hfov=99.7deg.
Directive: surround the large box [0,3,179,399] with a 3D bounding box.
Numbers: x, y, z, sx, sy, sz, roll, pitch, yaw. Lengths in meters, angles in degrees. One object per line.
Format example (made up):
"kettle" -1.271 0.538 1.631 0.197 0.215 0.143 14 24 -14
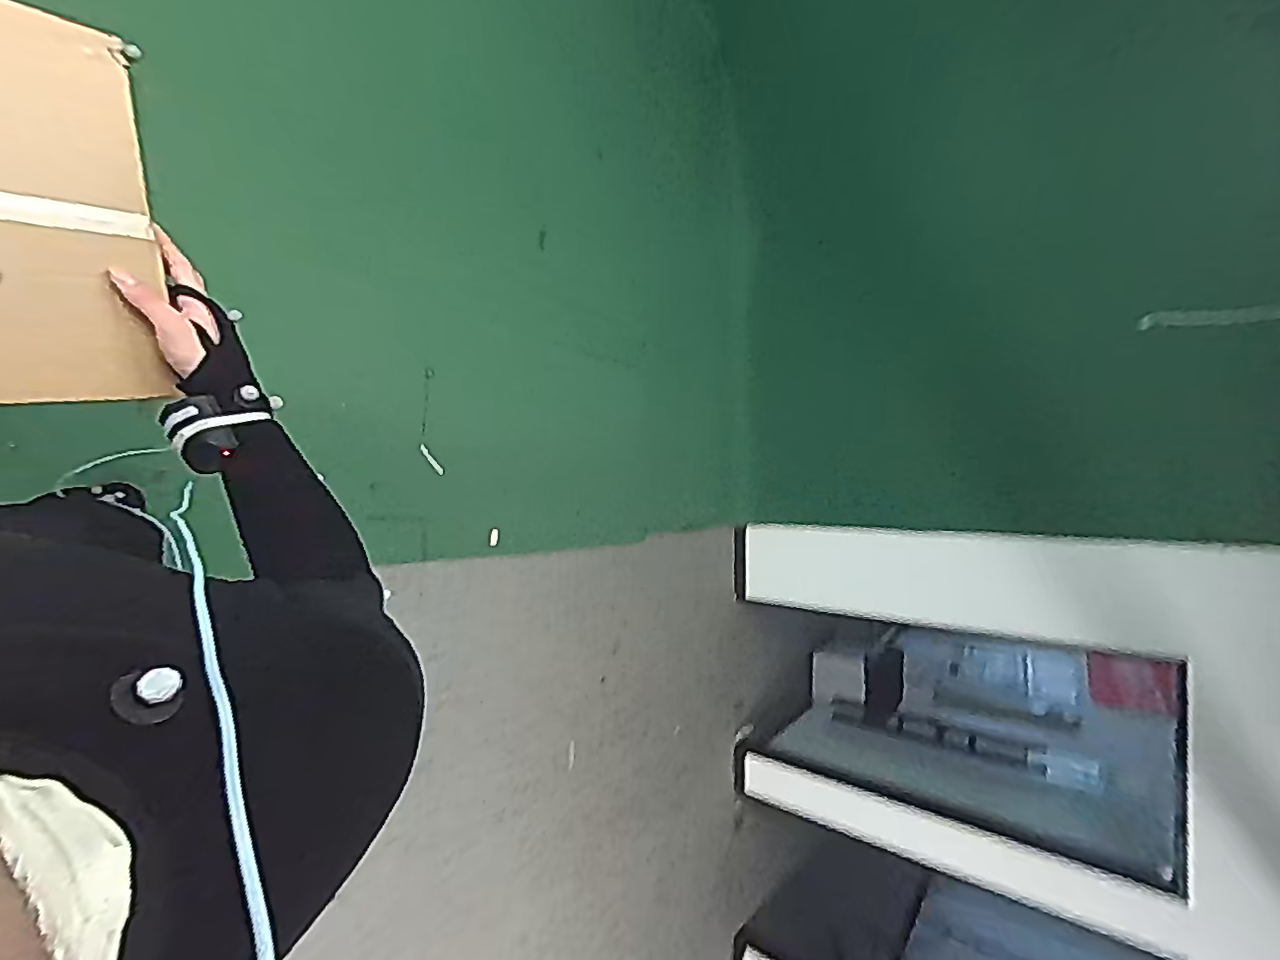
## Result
"large box" -0.708 -0.222 0.450 0.408 0.320 0.320 -17 111 -50
